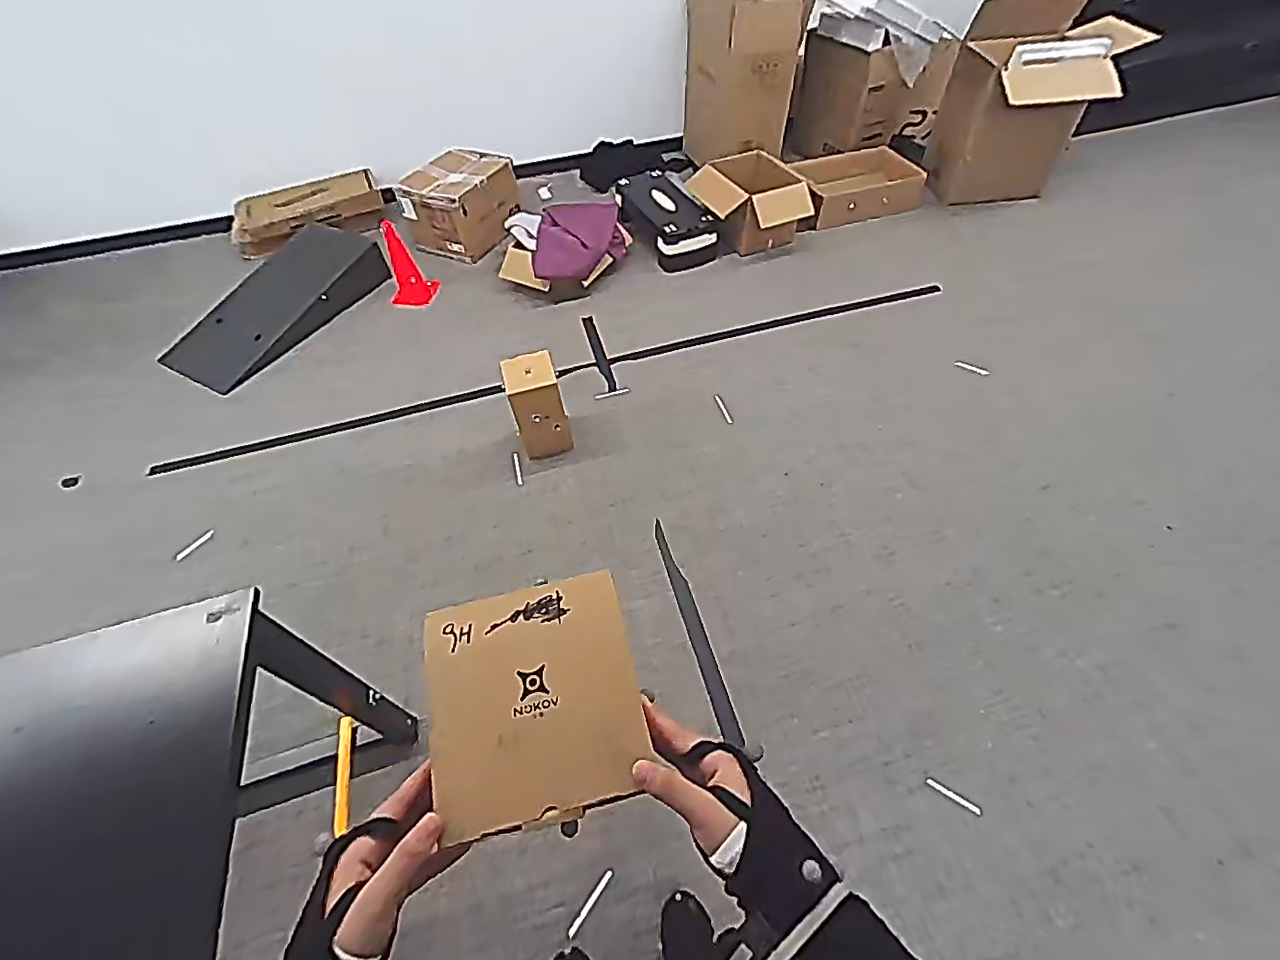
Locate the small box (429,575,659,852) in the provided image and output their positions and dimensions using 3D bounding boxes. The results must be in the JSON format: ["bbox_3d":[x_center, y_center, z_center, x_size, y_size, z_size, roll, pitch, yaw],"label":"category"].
[{"bbox_3d":[-0.081,0.211,0.504,0.168,0.176,0.179,-13,63,-6],"label":"small box"}]

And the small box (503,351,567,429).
[{"bbox_3d":[-0.354,-0.301,1.826,0.168,0.176,0.179,-16,54,-7],"label":"small box"}]

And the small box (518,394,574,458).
[{"bbox_3d":[-0.344,-0.206,1.958,0.179,0.176,0.168,-16,53,-8],"label":"small box"}]
